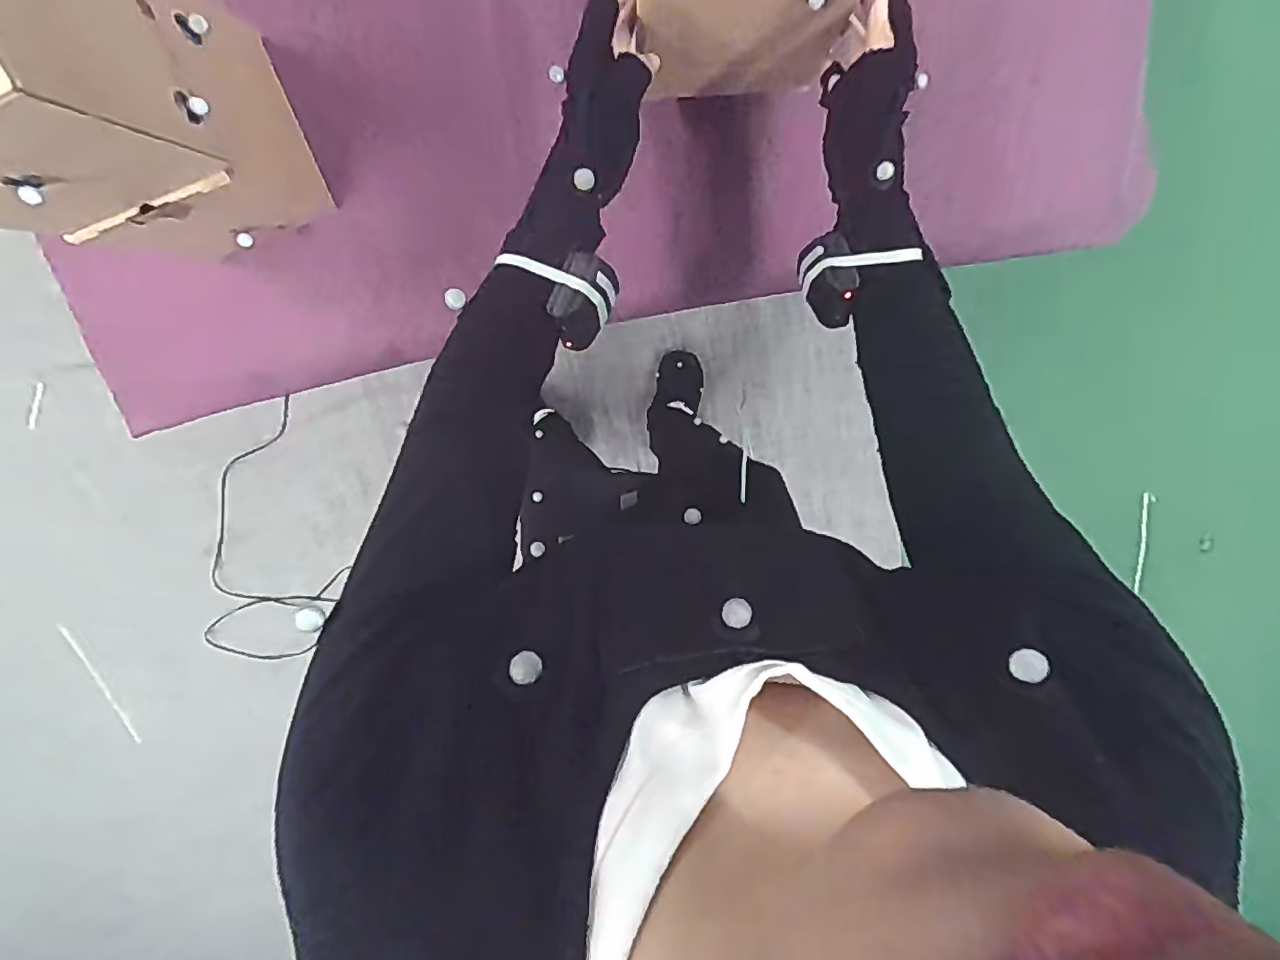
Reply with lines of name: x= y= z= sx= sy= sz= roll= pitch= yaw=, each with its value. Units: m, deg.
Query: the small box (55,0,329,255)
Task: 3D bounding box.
small box: x=-0.448 y=-0.333 z=0.517 sx=0.168 sy=0.176 sz=0.179 roll=-16 pitch=107 yaw=7

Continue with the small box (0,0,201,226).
small box: x=-0.446 y=-0.286 z=0.356 sx=0.179 sy=0.176 sz=0.168 roll=-14 pitch=105 yaw=5

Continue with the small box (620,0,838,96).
small box: x=0.069 y=-0.443 z=0.435 sx=0.179 sy=0.176 sz=0.168 roll=-4 pitch=97 yaw=-2
